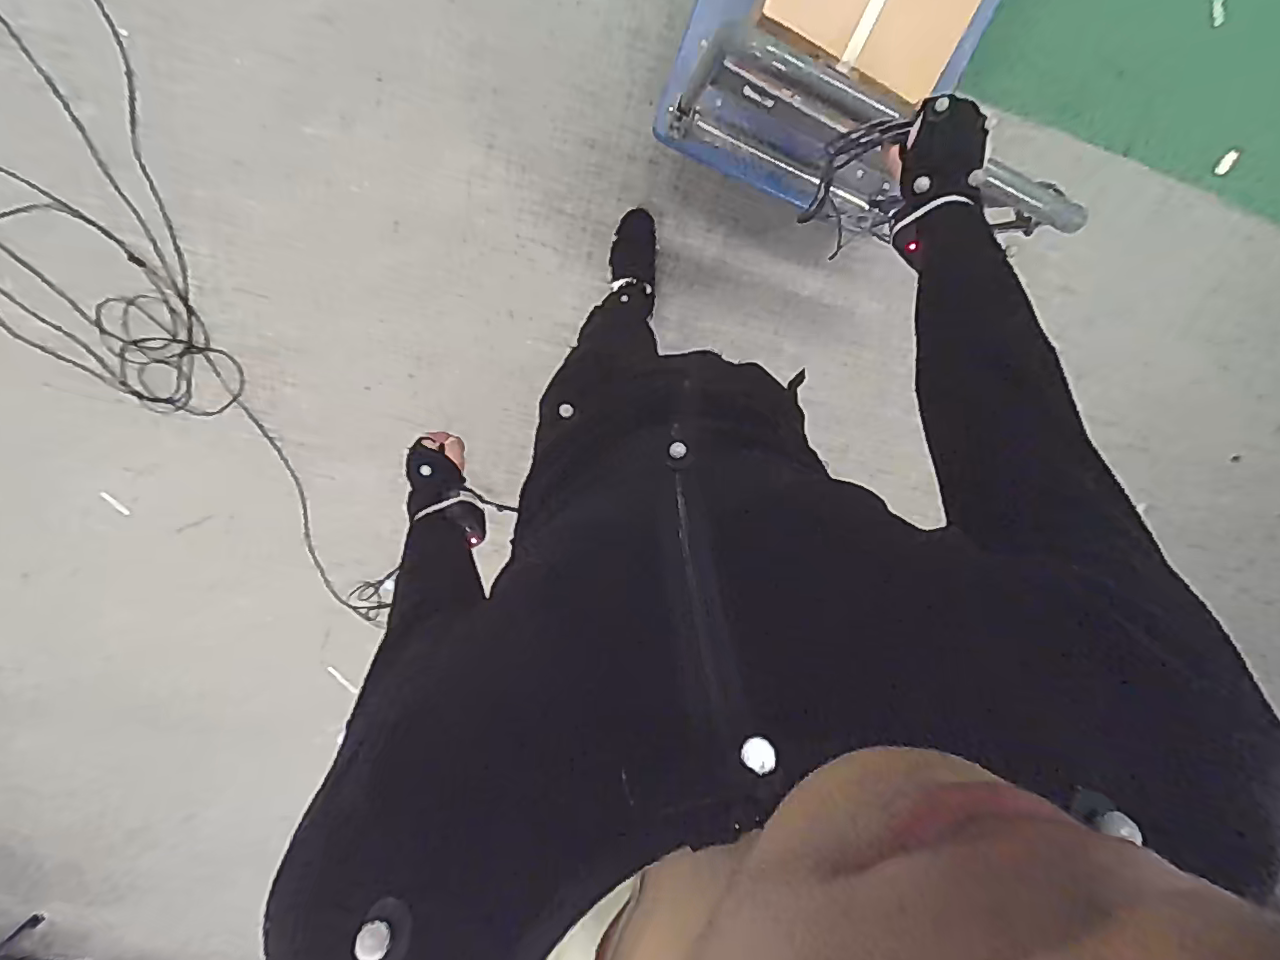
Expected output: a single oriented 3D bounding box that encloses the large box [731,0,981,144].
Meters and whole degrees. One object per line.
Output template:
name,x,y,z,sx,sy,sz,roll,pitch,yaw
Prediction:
large box,0.403,-0.891,0.943,0.320,0.320,0.408,22,109,-12
